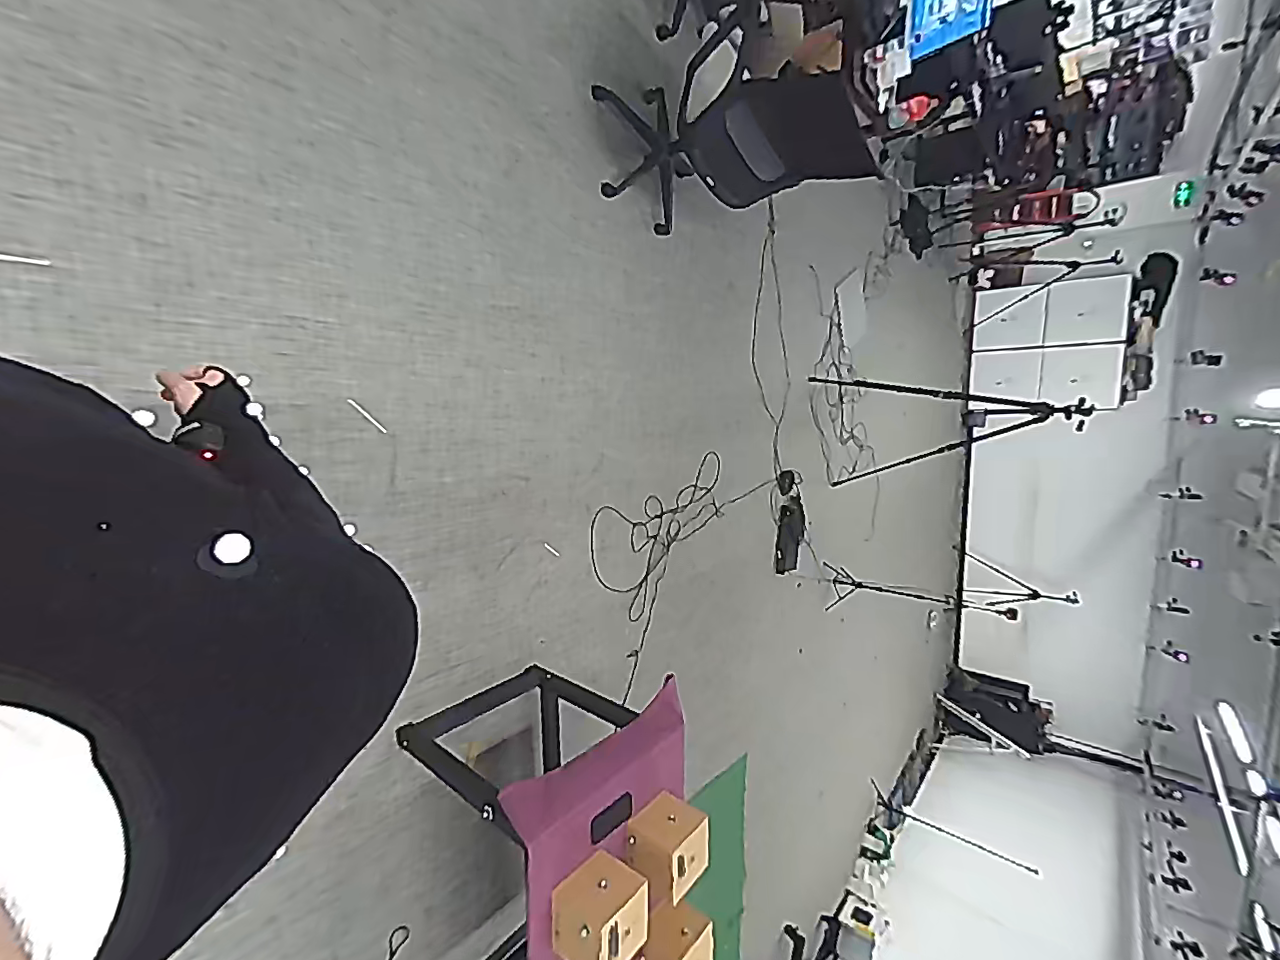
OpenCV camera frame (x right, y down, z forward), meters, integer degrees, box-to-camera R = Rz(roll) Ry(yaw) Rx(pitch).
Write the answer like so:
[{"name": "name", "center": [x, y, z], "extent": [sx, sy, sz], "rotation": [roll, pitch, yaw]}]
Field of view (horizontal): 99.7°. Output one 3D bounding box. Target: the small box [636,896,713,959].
[{"name": "small box", "center": [0.104, 1.402, 1.620], "extent": [0.179, 0.176, 0.168], "rotation": [-10, 101, -48]}]

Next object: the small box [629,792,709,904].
[{"name": "small box", "center": [0.081, 1.044, 1.550], "extent": [0.179, 0.176, 0.168], "rotation": [-11, 103, -49]}]
